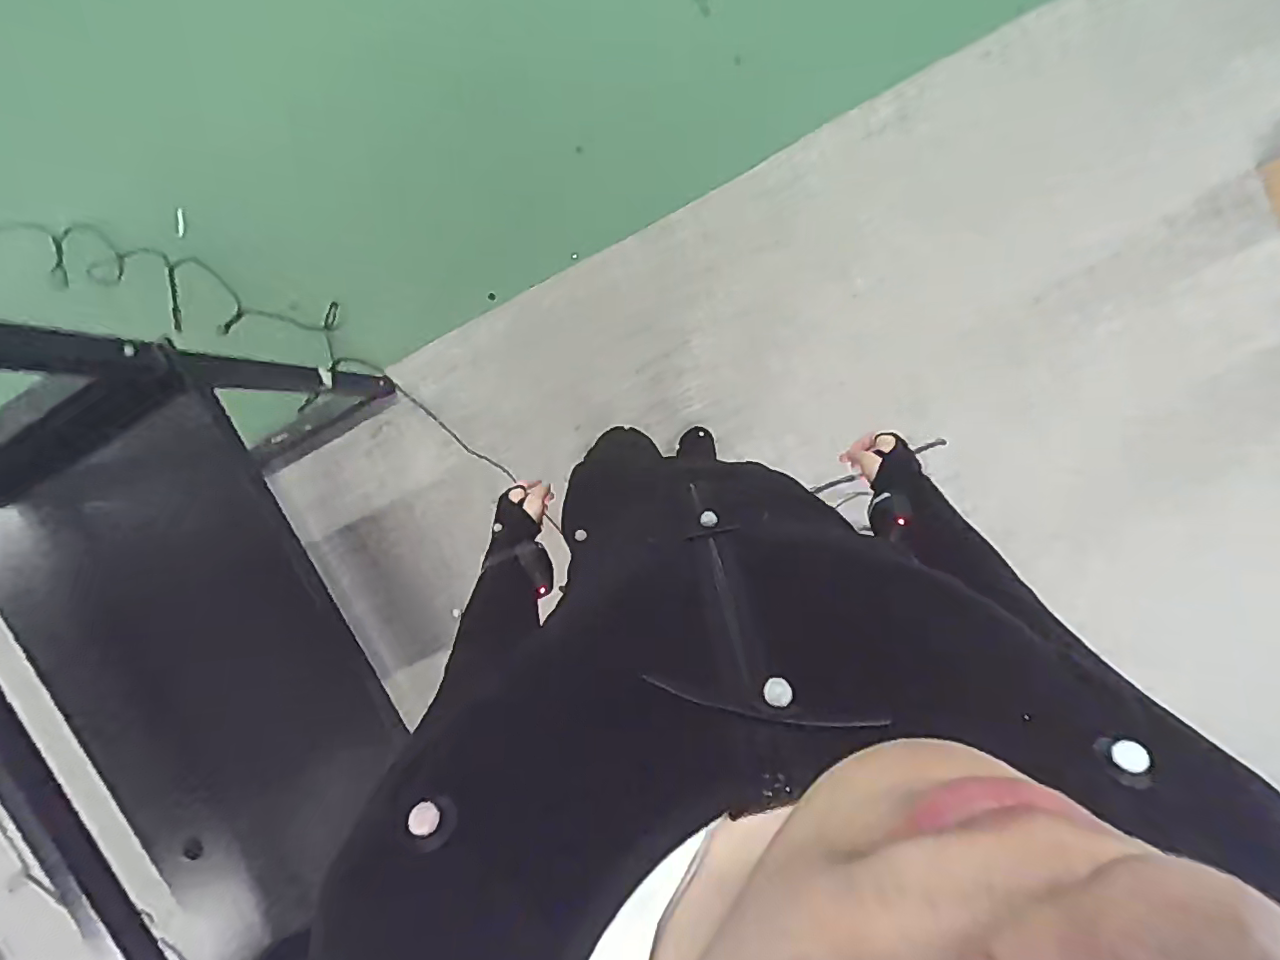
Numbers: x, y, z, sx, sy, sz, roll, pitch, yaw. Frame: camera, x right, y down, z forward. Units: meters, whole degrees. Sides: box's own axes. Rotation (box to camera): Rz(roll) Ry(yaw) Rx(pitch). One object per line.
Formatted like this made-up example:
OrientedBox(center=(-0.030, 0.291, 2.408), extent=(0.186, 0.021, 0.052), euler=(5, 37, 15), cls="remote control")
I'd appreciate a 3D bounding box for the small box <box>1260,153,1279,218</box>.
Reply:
OrientedBox(center=(1.705, -0.771, 1.322), extent=(0.168, 0.176, 0.179), euler=(-27, 94, 7), cls="small box")
